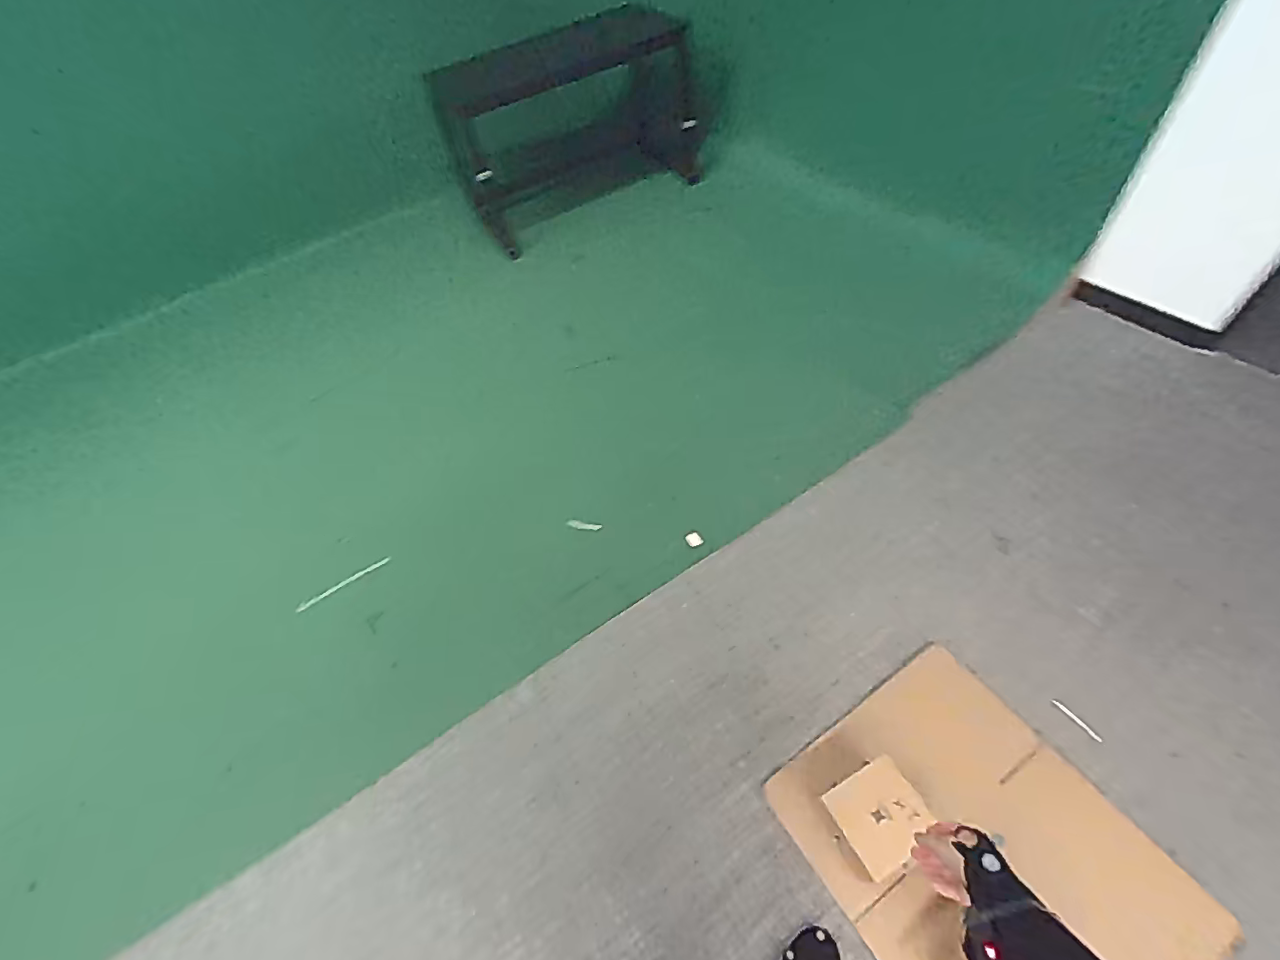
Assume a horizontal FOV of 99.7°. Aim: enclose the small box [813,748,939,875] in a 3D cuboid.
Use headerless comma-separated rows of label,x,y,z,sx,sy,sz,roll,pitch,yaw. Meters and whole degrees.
small box,0.488,0.707,1.149,0.179,0.176,0.168,-26,55,-10
